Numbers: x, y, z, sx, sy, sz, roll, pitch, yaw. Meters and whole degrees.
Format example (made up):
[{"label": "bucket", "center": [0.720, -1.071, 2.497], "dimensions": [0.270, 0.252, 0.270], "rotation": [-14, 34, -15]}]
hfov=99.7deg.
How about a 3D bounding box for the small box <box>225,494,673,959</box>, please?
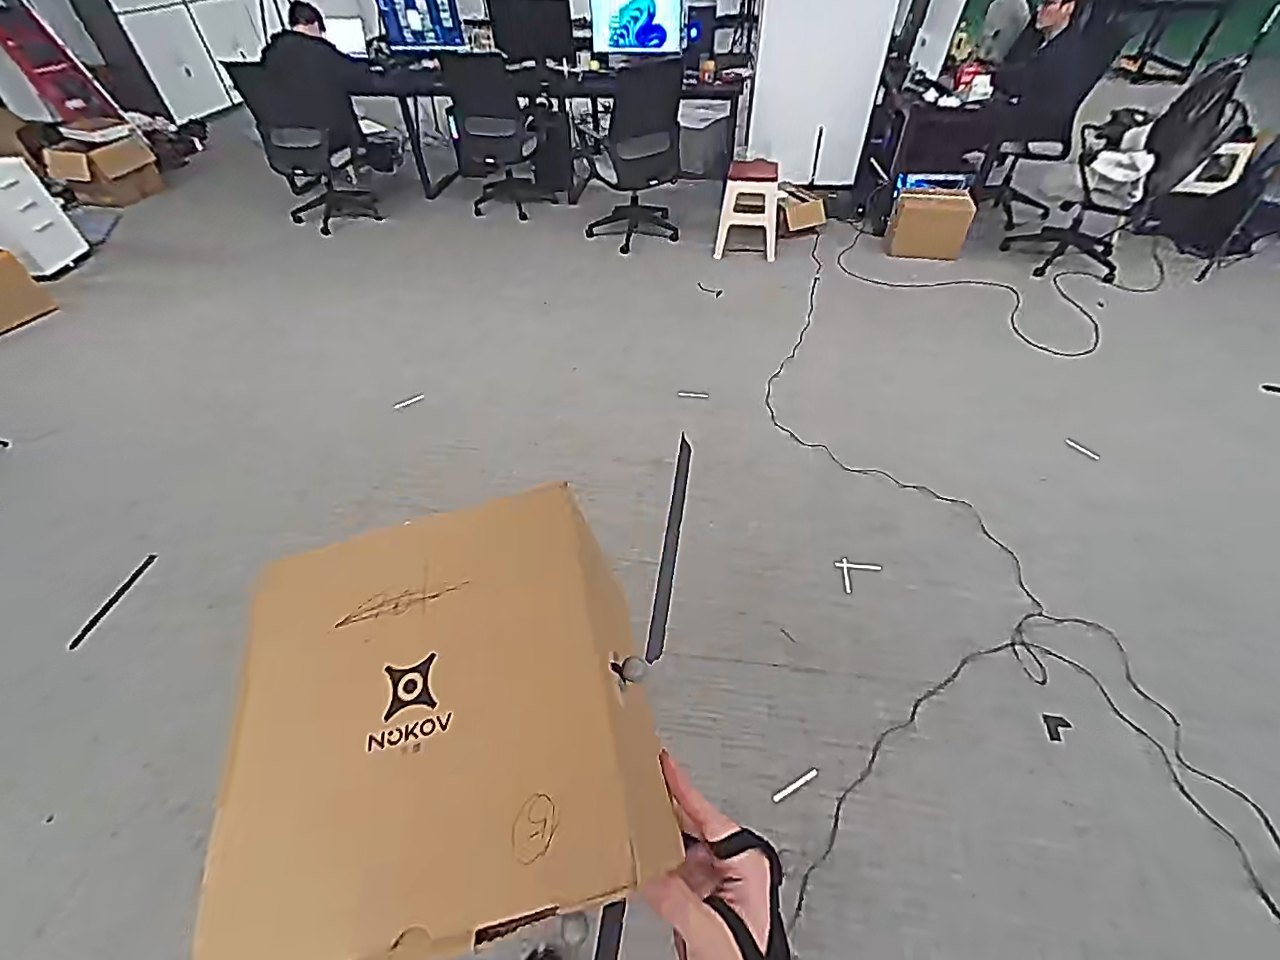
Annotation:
[{"label": "small box", "center": [-0.085, 0.140, 0.312], "dimensions": [0.168, 0.176, 0.179], "rotation": [-17, 57, 0]}]
